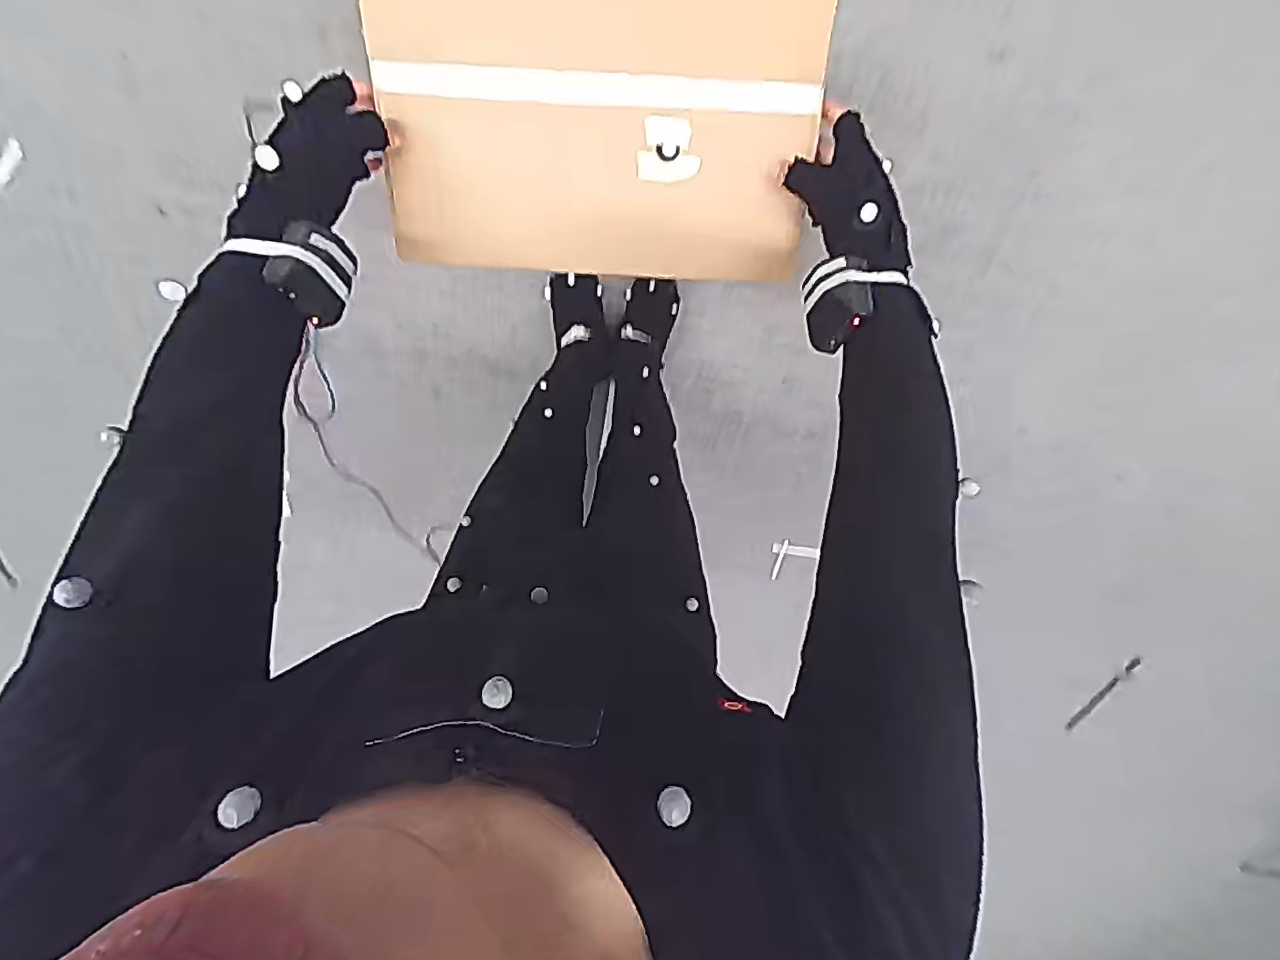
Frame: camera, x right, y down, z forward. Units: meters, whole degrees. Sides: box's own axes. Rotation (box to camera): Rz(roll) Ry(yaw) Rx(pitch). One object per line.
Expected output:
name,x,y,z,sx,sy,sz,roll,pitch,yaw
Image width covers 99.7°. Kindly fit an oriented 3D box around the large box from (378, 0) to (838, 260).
large box,-0.032,-0.437,0.619,0.408,0.320,0.320,3,118,-1
